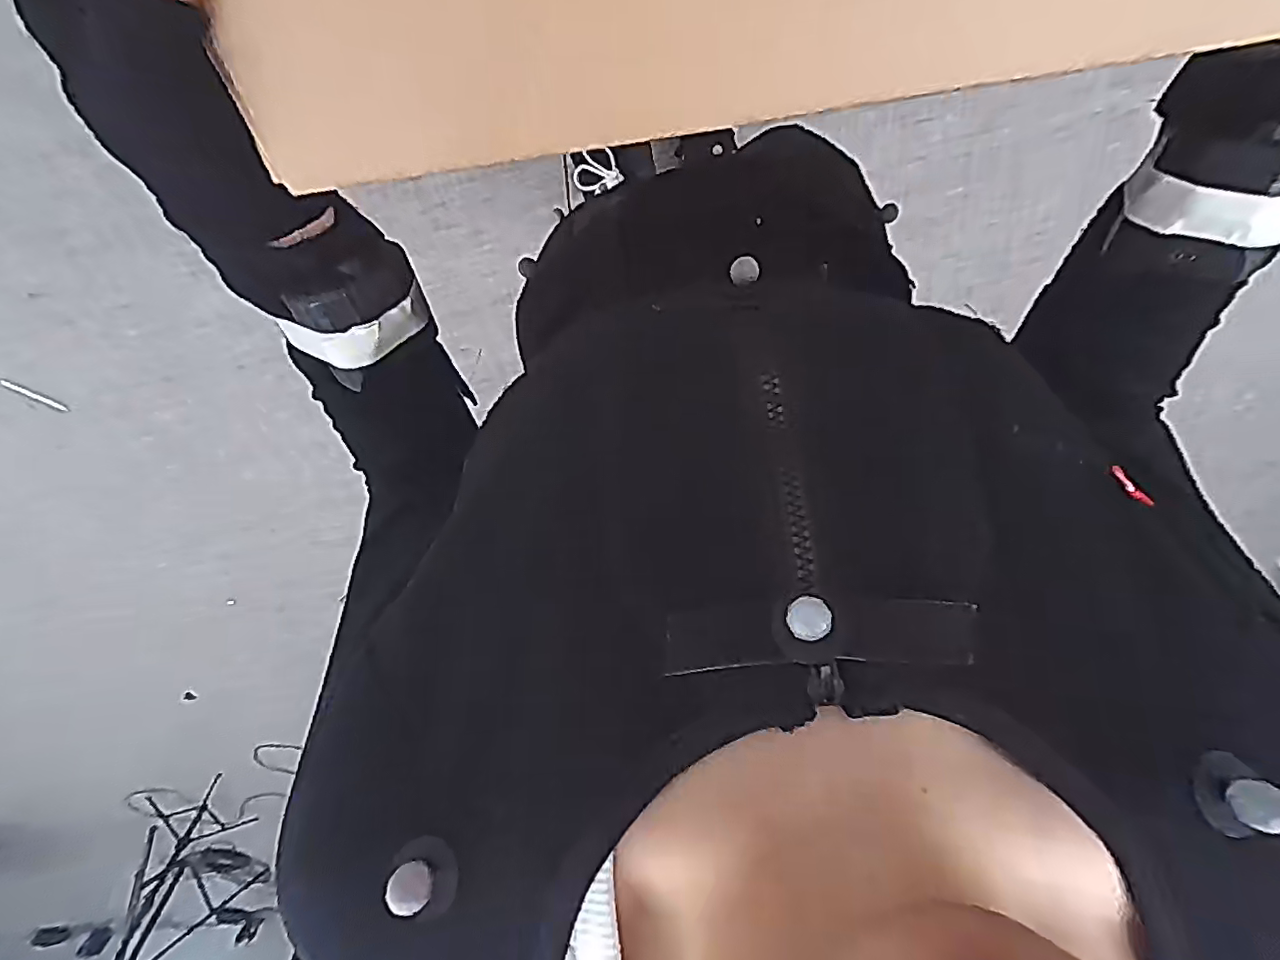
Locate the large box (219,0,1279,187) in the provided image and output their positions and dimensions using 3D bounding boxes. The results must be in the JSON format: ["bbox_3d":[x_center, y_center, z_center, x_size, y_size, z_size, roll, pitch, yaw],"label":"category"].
[{"bbox_3d":[0.026,-0.363,0.219,0.408,0.320,0.320,-7,136,3],"label":"large box"}]
